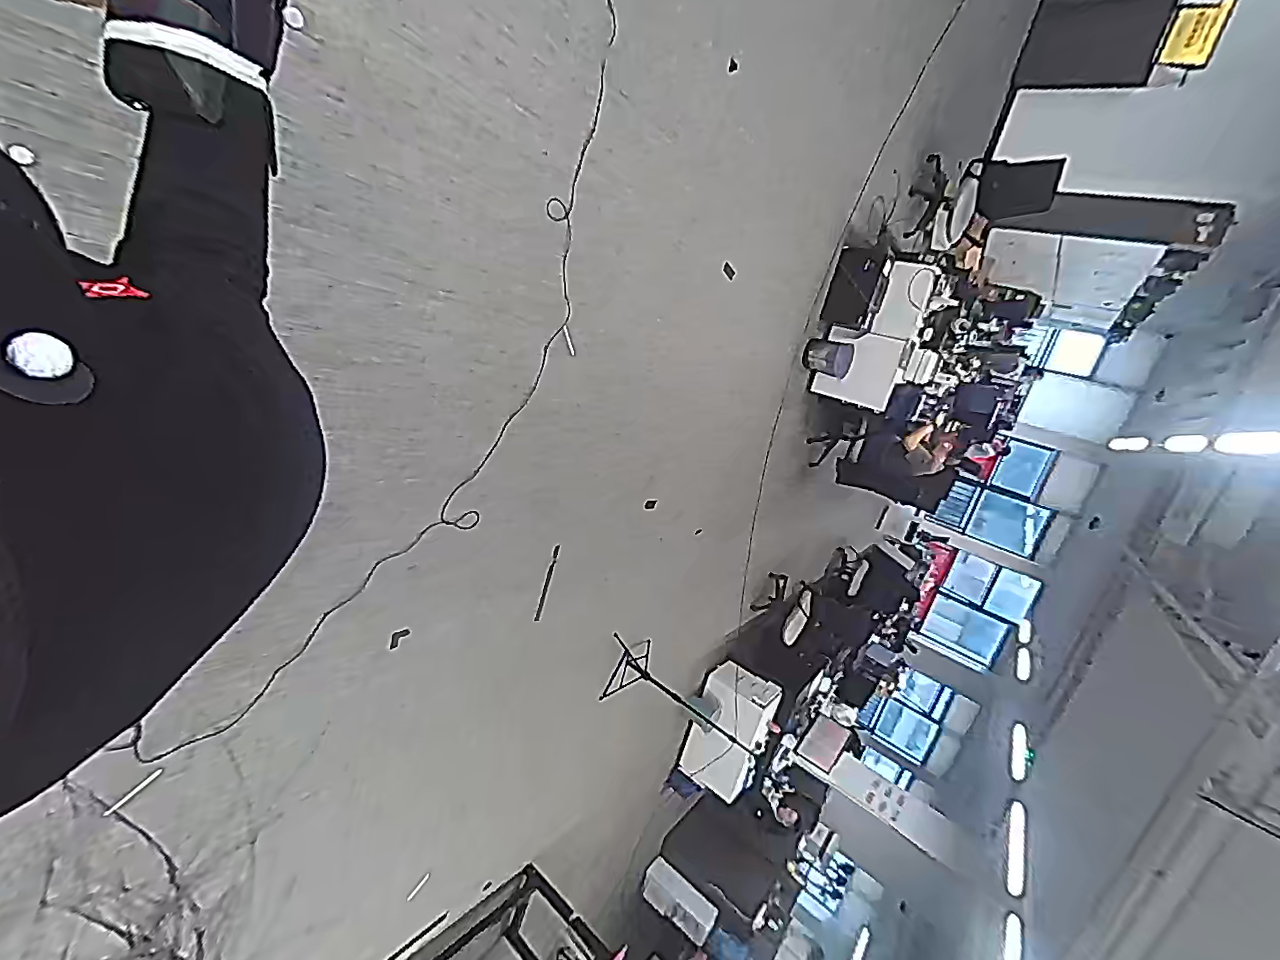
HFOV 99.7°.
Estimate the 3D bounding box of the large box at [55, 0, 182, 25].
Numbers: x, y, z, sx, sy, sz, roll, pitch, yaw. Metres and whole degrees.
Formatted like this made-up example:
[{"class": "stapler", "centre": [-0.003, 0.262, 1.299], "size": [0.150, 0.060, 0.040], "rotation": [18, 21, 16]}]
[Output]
[{"class": "large box", "centre": [-0.486, -0.479, 0.214], "size": [0.408, 0.320, 0.320], "rotation": [-12, 129, -56]}]
